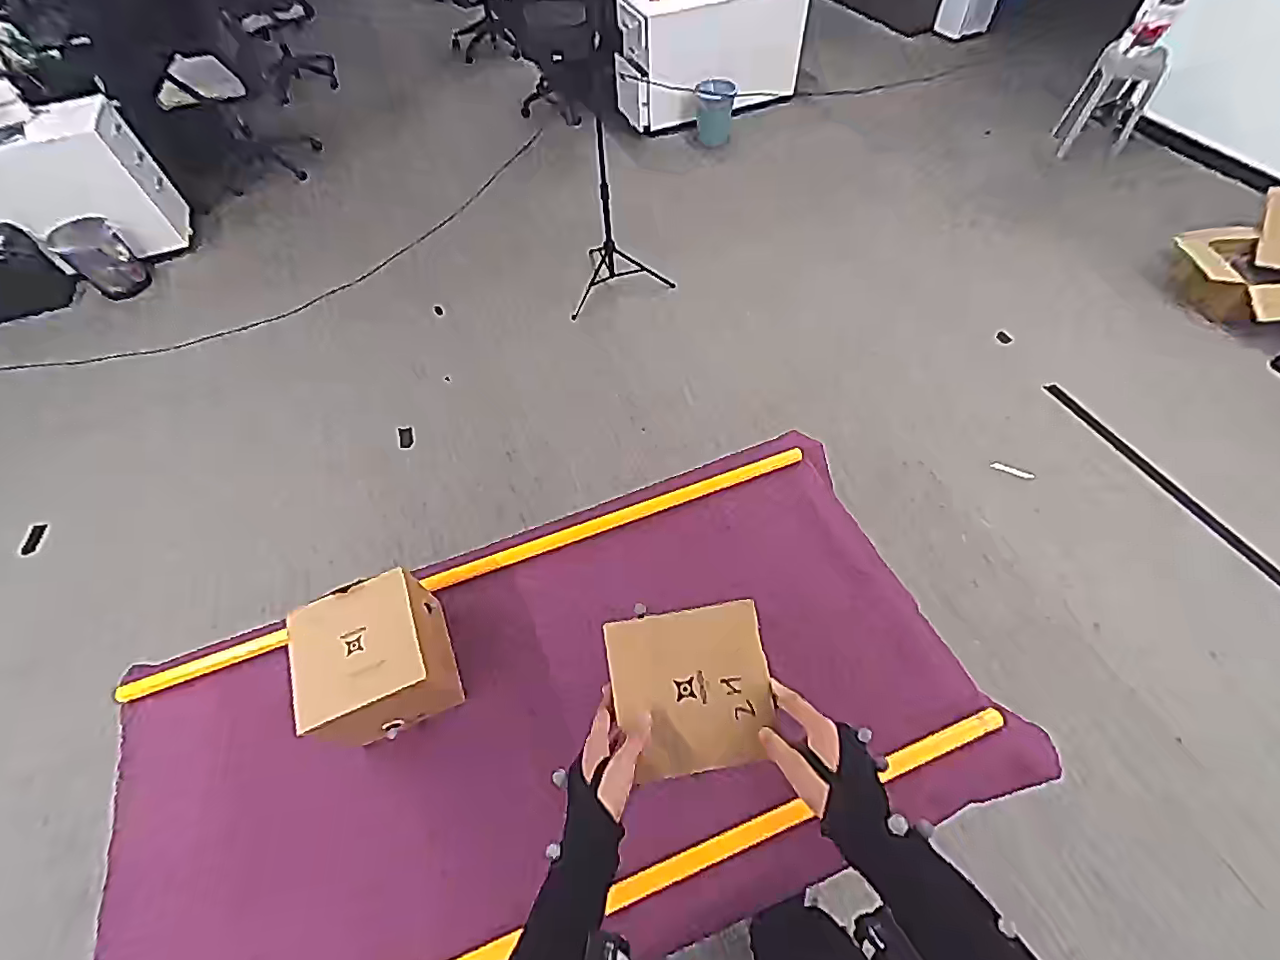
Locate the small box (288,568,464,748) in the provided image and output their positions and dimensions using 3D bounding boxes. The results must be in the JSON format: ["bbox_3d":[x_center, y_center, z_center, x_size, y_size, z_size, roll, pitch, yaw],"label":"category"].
[{"bbox_3d":[-0.378,0.264,0.790,0.168,0.176,0.179,-22,59,-11],"label":"small box"}]

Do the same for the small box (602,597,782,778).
[{"bbox_3d":[0.053,0.244,0.666,0.179,0.176,0.168,-9,76,-4],"label":"small box"}]
